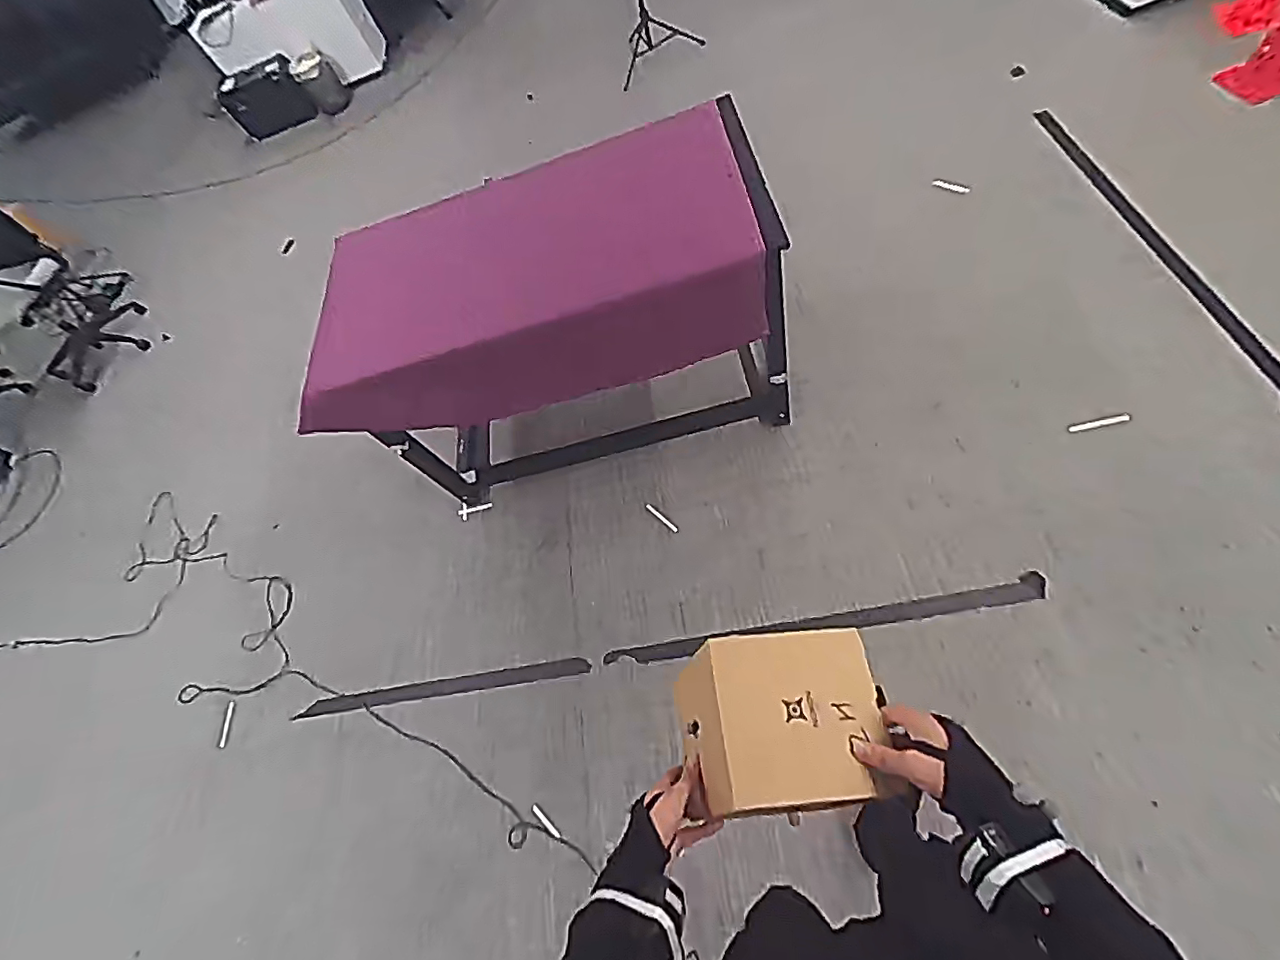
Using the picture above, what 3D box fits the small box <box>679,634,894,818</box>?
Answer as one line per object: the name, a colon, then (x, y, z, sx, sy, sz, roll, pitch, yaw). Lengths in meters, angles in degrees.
small box: (0.149, 0.288, 0.629, 0.179, 0.176, 0.168, 3, 55, -12)
